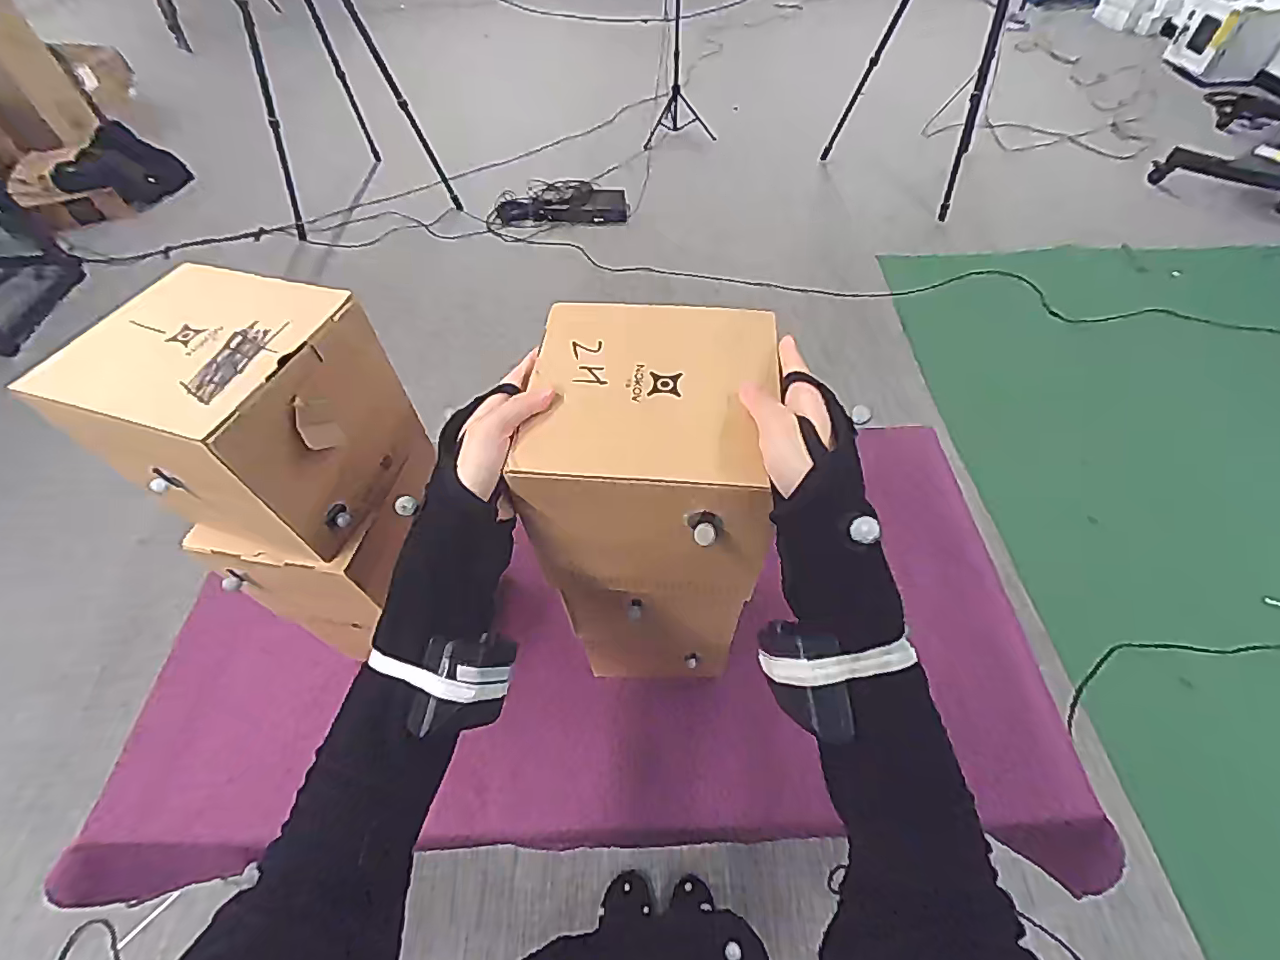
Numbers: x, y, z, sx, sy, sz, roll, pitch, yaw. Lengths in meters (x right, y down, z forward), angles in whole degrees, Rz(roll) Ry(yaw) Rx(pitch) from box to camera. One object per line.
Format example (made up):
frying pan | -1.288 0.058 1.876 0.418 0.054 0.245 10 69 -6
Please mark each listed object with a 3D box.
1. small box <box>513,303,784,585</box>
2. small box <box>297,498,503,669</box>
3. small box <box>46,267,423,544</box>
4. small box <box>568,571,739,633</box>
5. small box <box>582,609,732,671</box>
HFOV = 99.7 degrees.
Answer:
small box | 0.013 -0.024 0.452 0.179 0.176 0.168 3 54 5
small box | -0.310 0.146 0.744 0.179 0.176 0.168 7 54 7
small box | -0.331 -0.062 0.490 0.179 0.176 0.168 13 54 12
small box | 0.015 0.059 0.594 0.179 0.176 0.168 1 54 3
small box | 0.023 0.150 0.731 0.179 0.176 0.168 0 53 2
